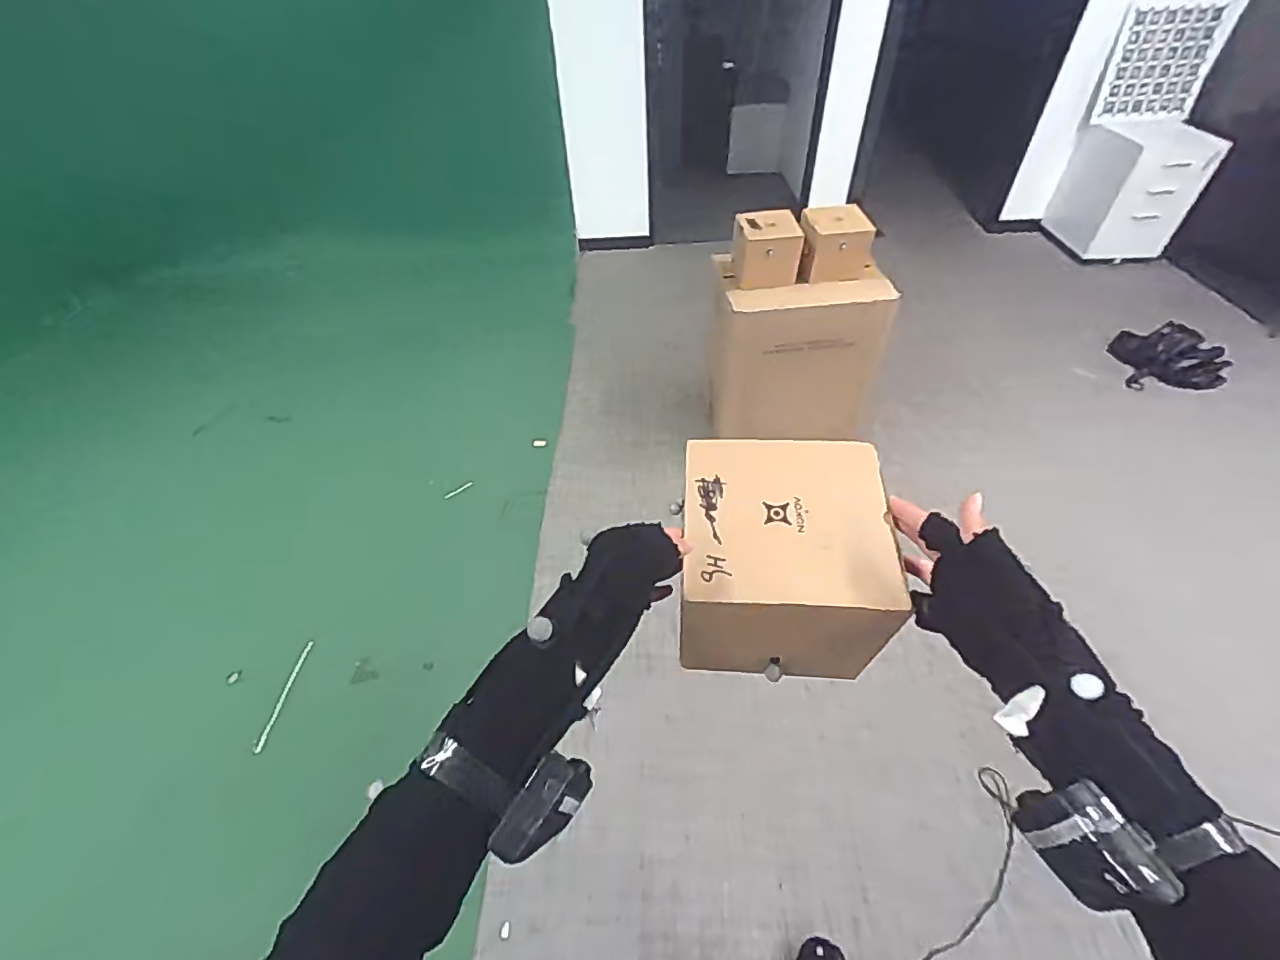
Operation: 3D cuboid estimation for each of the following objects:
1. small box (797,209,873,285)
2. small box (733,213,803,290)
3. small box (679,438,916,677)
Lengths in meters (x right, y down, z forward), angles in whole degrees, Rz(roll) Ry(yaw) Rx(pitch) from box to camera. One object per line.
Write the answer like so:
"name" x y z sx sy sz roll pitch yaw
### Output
"small box" 0.612 -0.745 1.735 0.179 0.176 0.168 -6 53 -5
"small box" 0.399 -0.724 1.724 0.179 0.176 0.168 -6 52 -3
"small box" 0.132 0.080 0.524 0.179 0.176 0.168 3 52 4
